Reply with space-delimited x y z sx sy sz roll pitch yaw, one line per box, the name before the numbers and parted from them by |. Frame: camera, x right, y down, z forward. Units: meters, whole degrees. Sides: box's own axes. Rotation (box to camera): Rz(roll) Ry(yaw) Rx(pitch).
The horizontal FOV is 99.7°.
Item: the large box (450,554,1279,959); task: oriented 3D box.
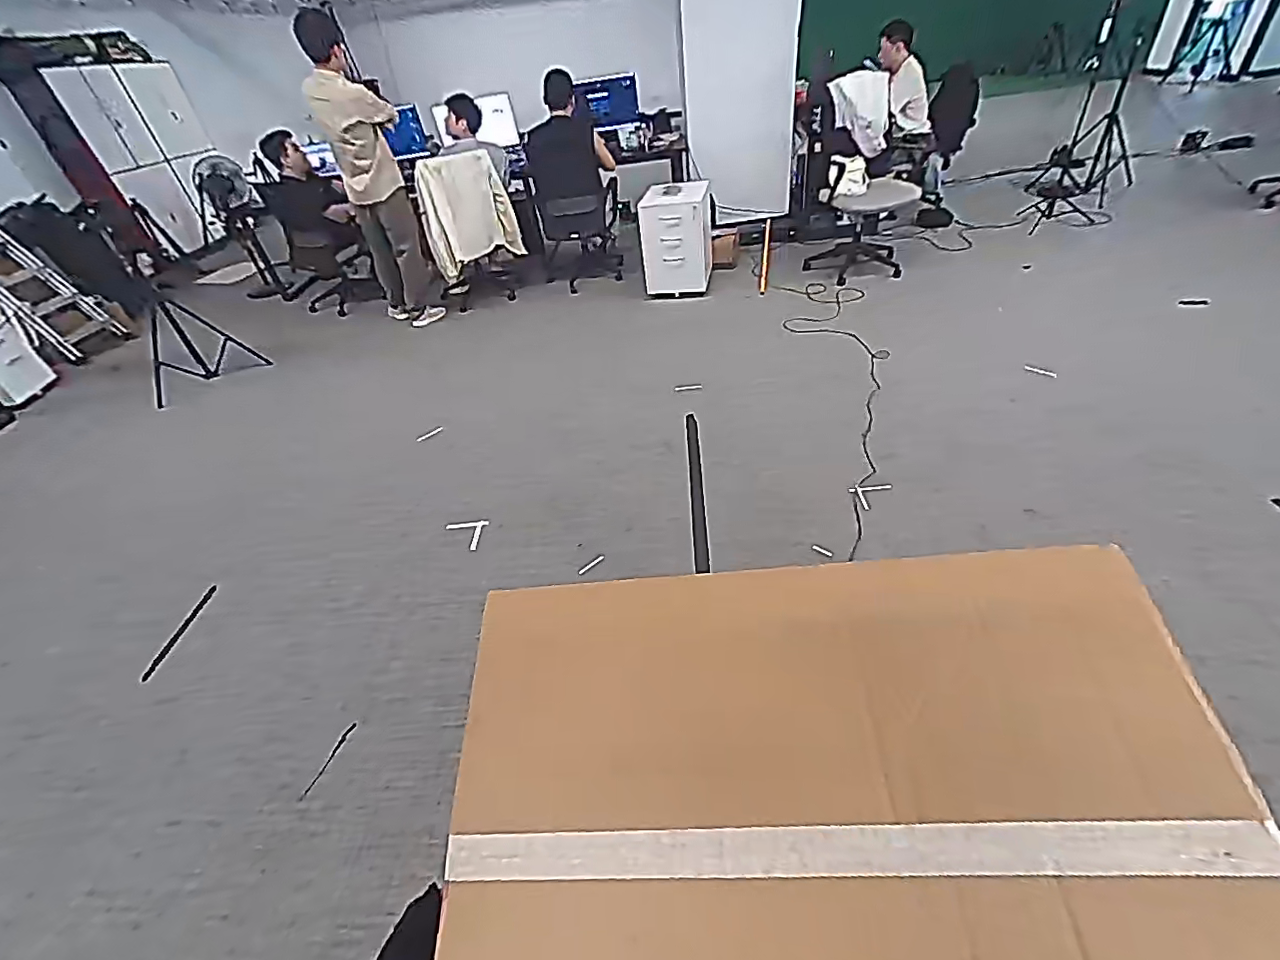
large box | 0.119 0.278 0.403 0.408 0.320 0.320 -6 56 8
